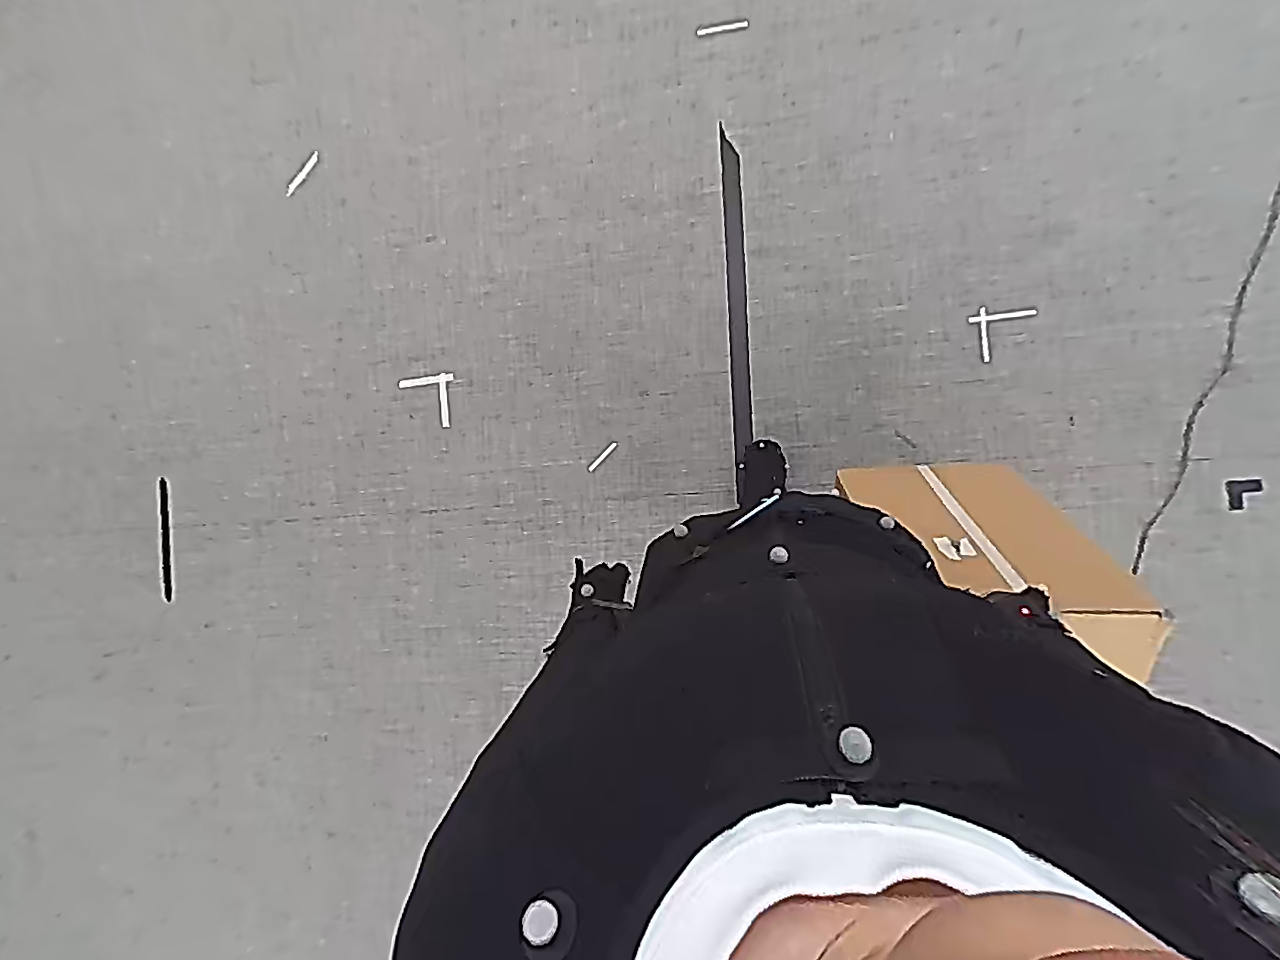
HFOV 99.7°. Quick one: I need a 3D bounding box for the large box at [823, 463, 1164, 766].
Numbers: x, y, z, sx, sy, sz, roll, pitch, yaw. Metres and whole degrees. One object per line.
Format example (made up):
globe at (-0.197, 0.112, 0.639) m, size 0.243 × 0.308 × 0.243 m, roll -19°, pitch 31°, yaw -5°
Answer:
large box at (0.516, 0.200, 0.914) m, size 0.320 × 0.408 × 0.320 m, roll -3°, pitch 119°, yaw 8°
